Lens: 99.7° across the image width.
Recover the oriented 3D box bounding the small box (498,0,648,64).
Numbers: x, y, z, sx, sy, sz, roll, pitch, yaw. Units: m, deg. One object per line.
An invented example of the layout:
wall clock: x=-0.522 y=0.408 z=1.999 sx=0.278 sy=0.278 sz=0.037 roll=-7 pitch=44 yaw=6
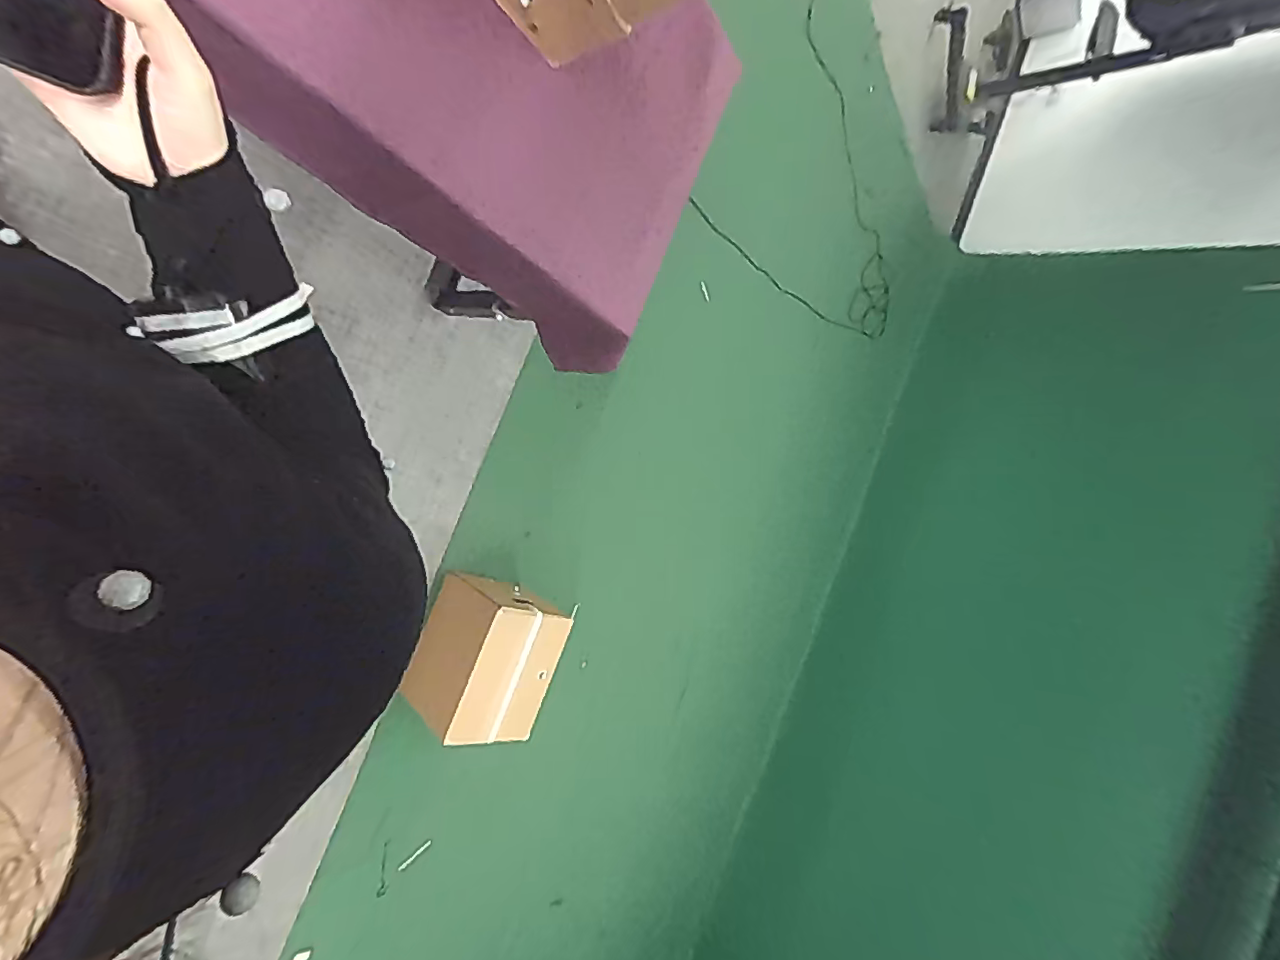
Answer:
small box: x=-0.085 y=-0.700 z=0.703 sx=0.168 sy=0.176 sz=0.179 roll=25 pitch=86 yaw=-48
